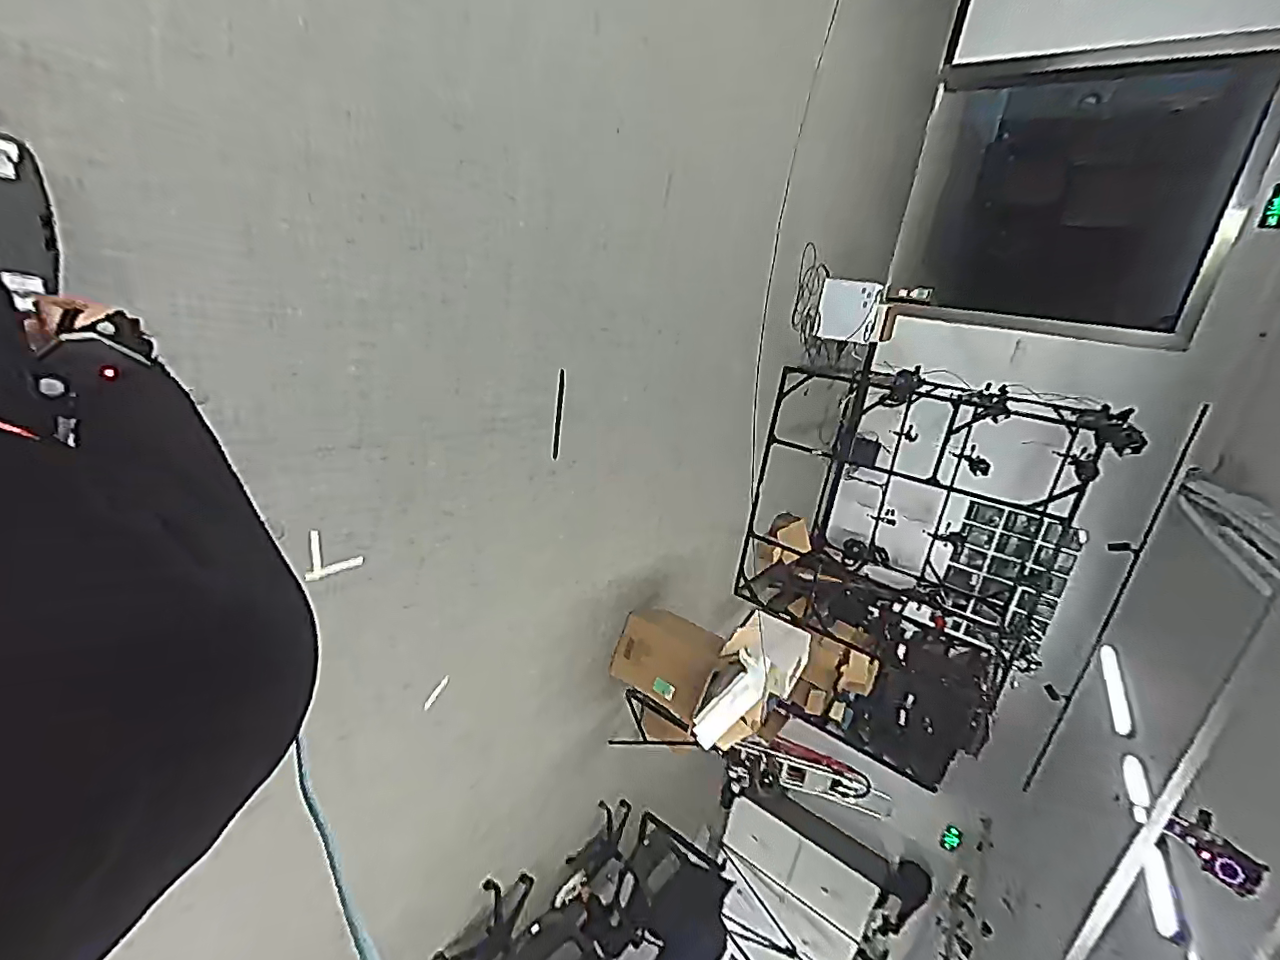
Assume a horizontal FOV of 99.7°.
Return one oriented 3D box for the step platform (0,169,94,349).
[{"bbox_3d":[-1.221,-0.362,0.729,0.684,0.204,0.286,-8,113,-56],"label":"step platform"}]
